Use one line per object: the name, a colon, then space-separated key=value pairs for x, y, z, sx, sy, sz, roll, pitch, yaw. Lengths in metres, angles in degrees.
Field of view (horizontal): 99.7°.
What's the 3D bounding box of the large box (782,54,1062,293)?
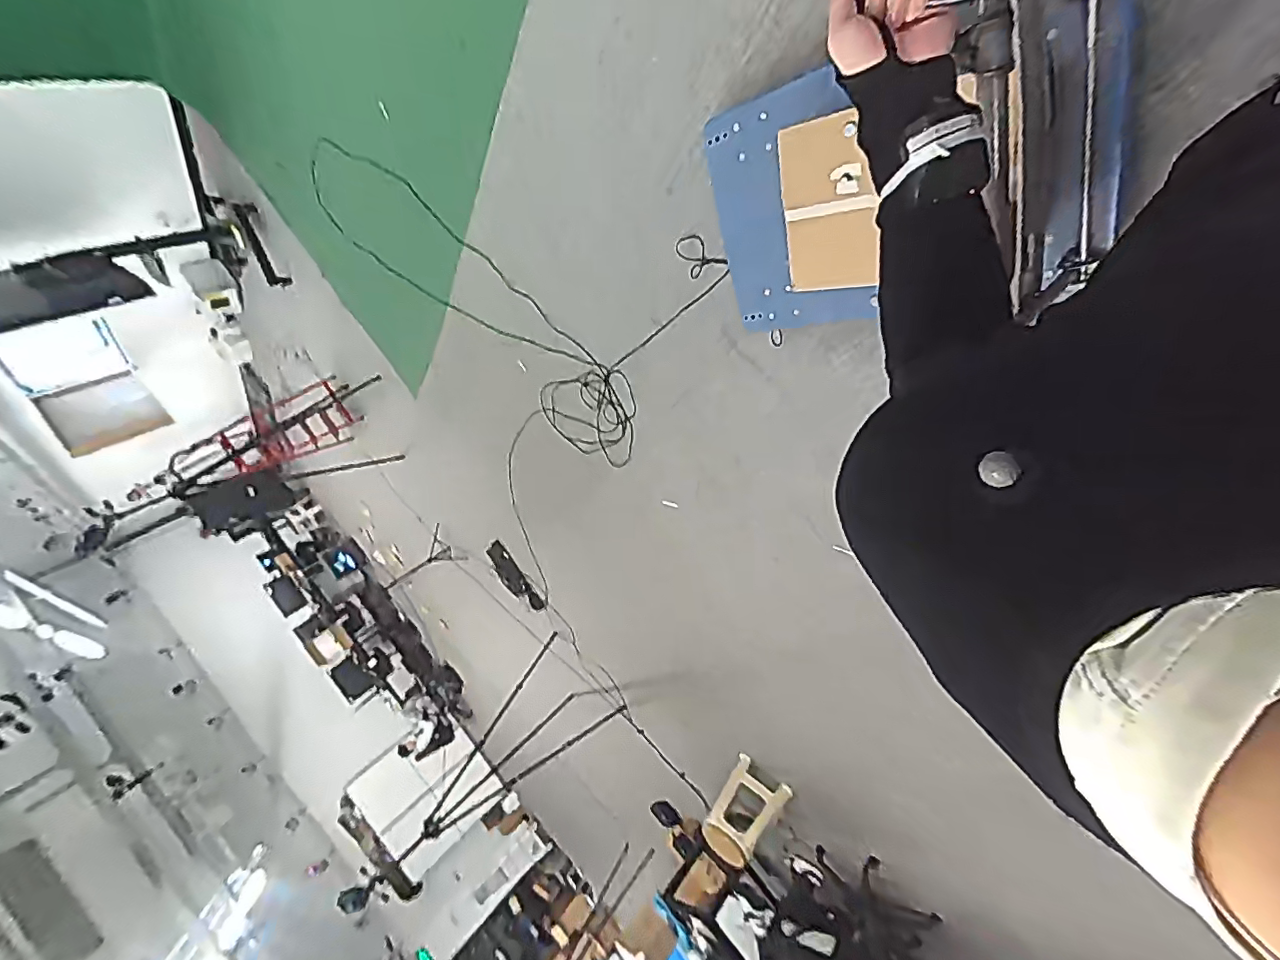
large box: x=0.551 y=-0.585 z=1.071 sx=0.408 sy=0.320 sz=0.320 roll=12 pitch=127 yaw=42
